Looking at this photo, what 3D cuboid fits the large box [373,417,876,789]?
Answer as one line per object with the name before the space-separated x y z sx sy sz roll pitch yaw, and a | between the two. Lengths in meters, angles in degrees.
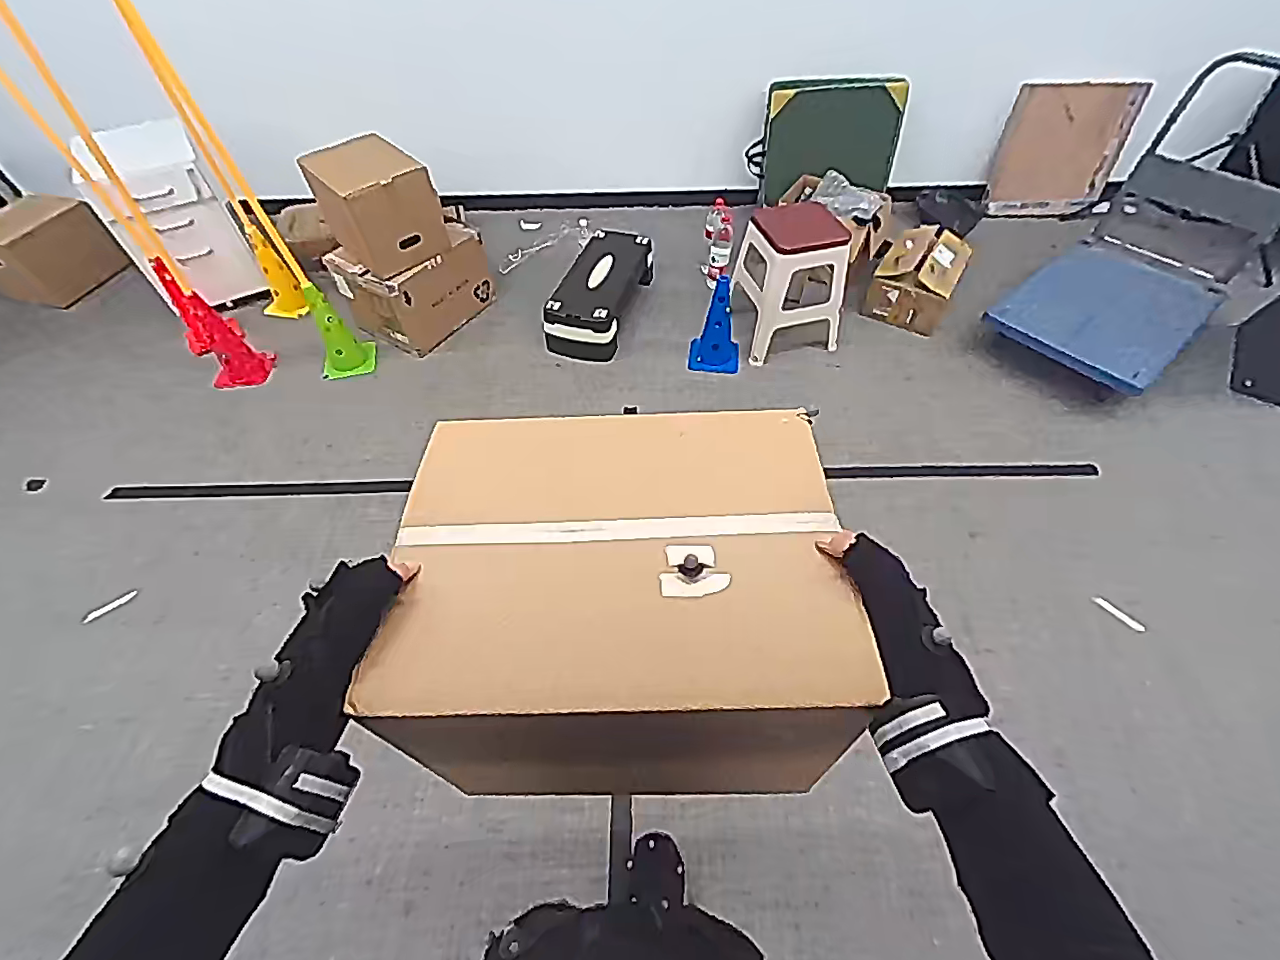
large box | -0.011 0.148 0.627 0.408 0.320 0.320 -2 50 2
